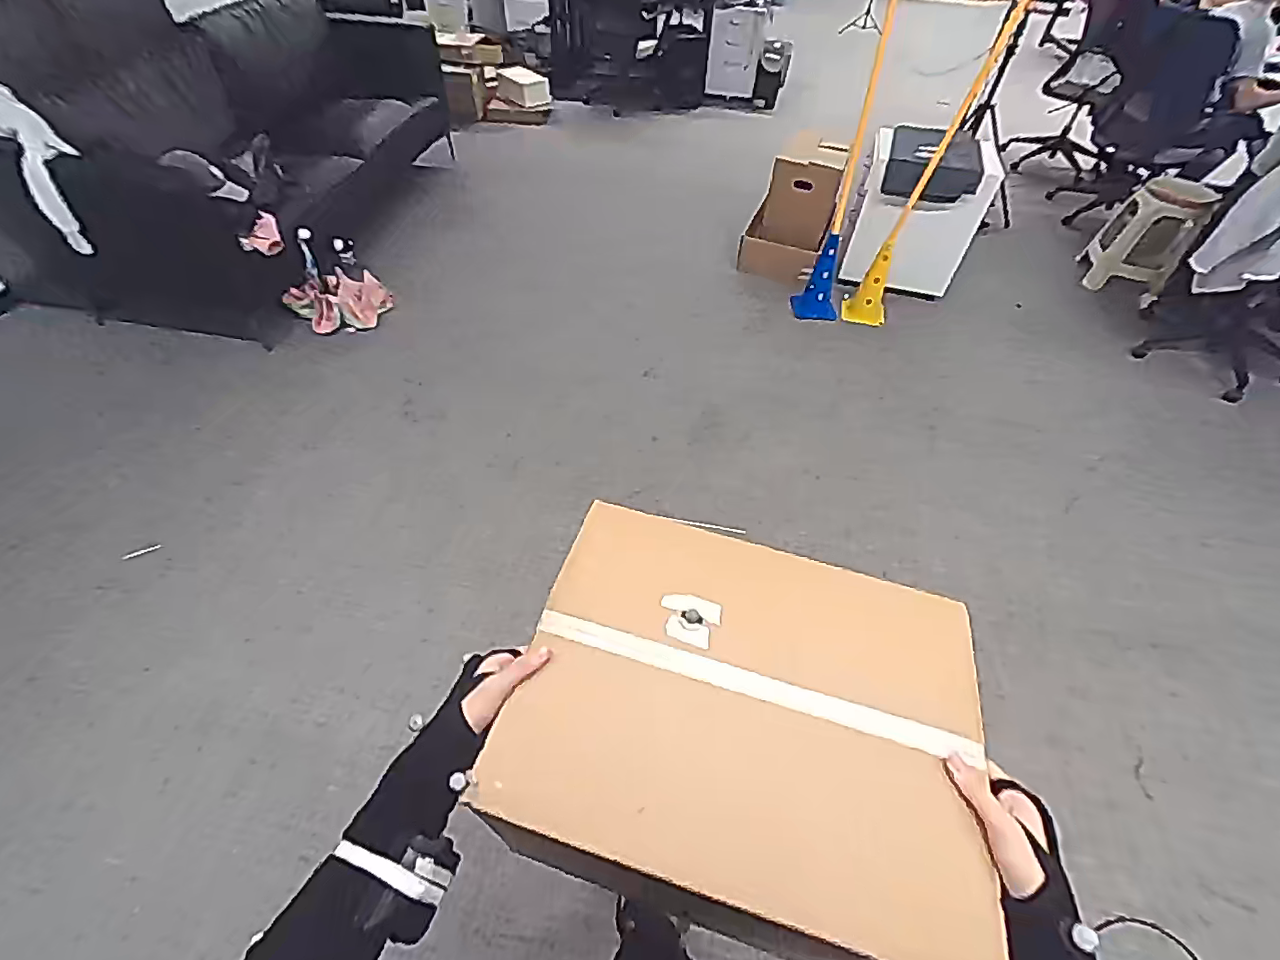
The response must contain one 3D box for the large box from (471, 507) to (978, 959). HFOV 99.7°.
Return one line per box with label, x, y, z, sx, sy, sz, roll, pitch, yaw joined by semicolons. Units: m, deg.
large box;0.088;0.283;0.617;0.408;0.320;0.320;15;50;9
